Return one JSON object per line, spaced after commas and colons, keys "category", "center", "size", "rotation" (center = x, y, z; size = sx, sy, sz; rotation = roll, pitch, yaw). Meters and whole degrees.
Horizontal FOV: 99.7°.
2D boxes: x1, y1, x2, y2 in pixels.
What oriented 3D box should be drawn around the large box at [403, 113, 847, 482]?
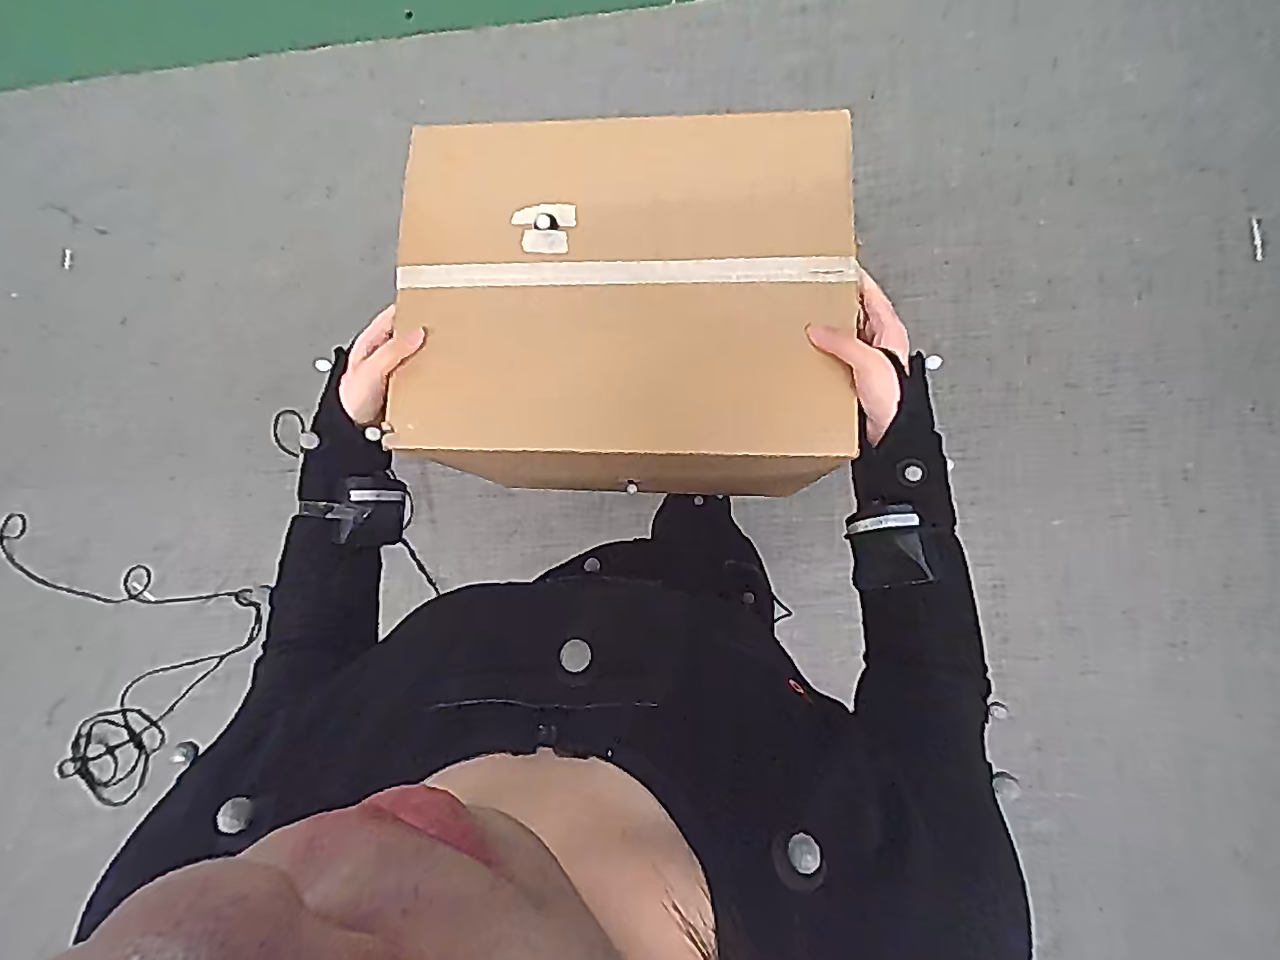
{"category": "large box", "center": [-0.001, -0.164, 0.639], "size": [0.408, 0.320, 0.320], "rotation": [1, 83, 7]}
